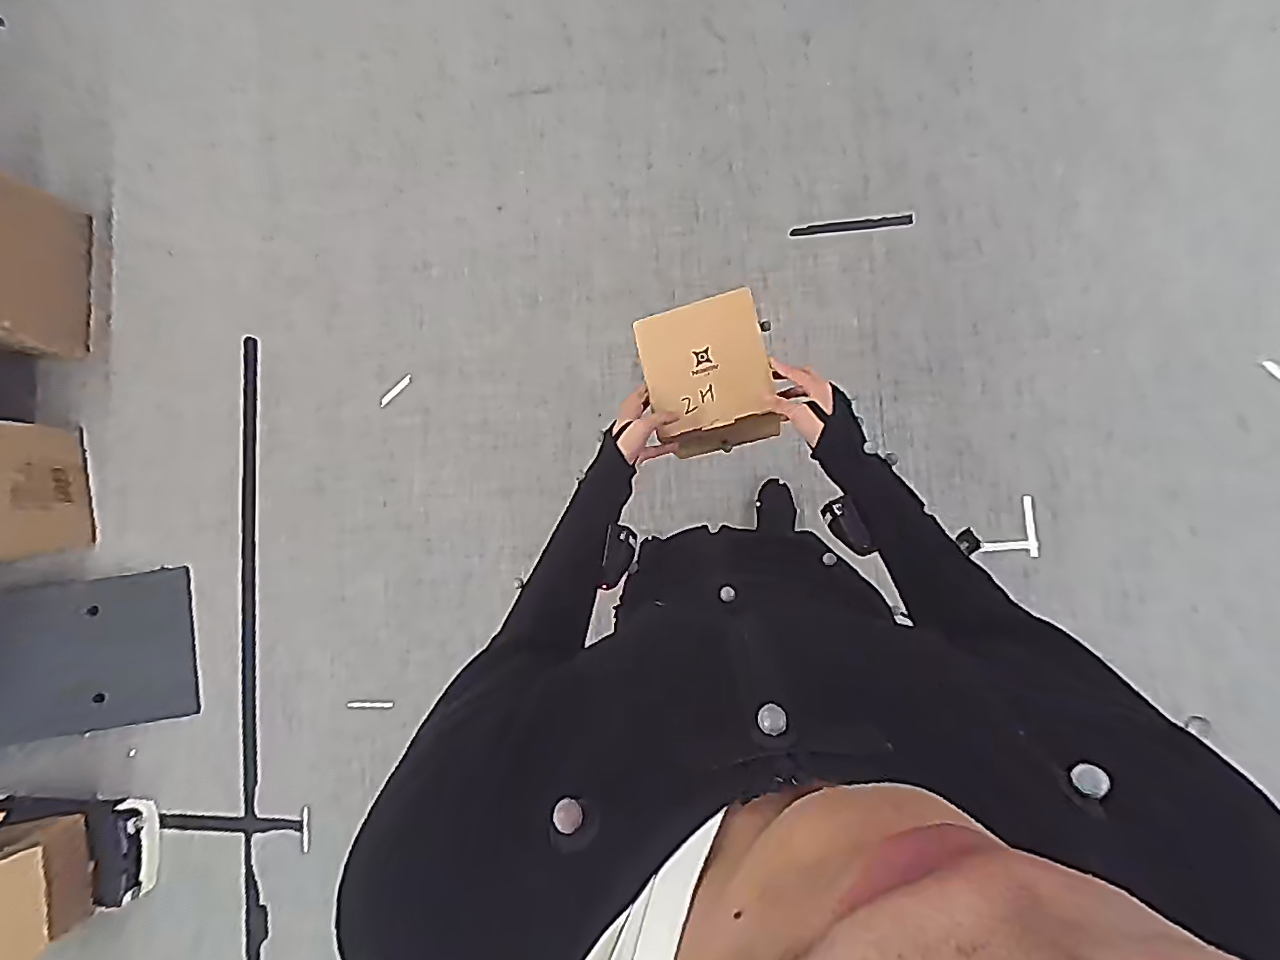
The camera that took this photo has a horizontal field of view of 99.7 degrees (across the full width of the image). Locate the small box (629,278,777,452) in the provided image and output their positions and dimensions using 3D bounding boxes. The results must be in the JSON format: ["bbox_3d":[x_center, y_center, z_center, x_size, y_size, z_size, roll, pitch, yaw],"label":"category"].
[{"bbox_3d":[0.096,-0.153,0.781,0.168,0.176,0.179,-14,80,13],"label":"small box"}]
